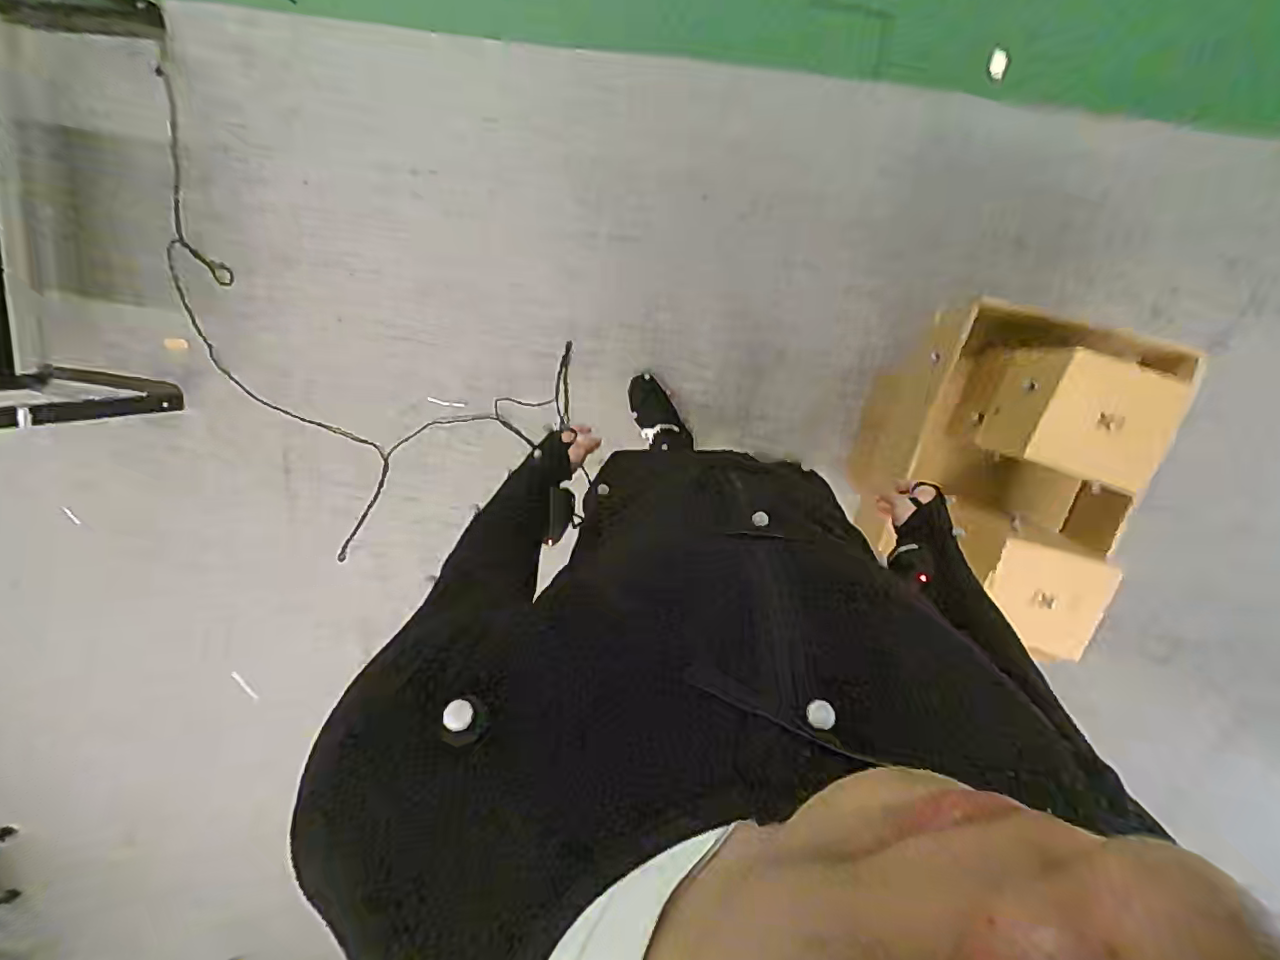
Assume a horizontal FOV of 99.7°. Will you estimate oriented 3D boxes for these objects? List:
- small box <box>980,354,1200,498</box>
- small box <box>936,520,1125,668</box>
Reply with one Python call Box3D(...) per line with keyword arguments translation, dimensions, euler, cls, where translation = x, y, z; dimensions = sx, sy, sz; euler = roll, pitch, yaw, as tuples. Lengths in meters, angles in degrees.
Box3D(translation=(0.683, -0.090, 0.852), dimensions=(0.179, 0.176, 0.168), euler=(19, 104, 3), cls="small box")
Box3D(translation=(0.638, 0.180, 0.914), dimensions=(0.179, 0.176, 0.168), euler=(17, 105, 4), cls="small box")
